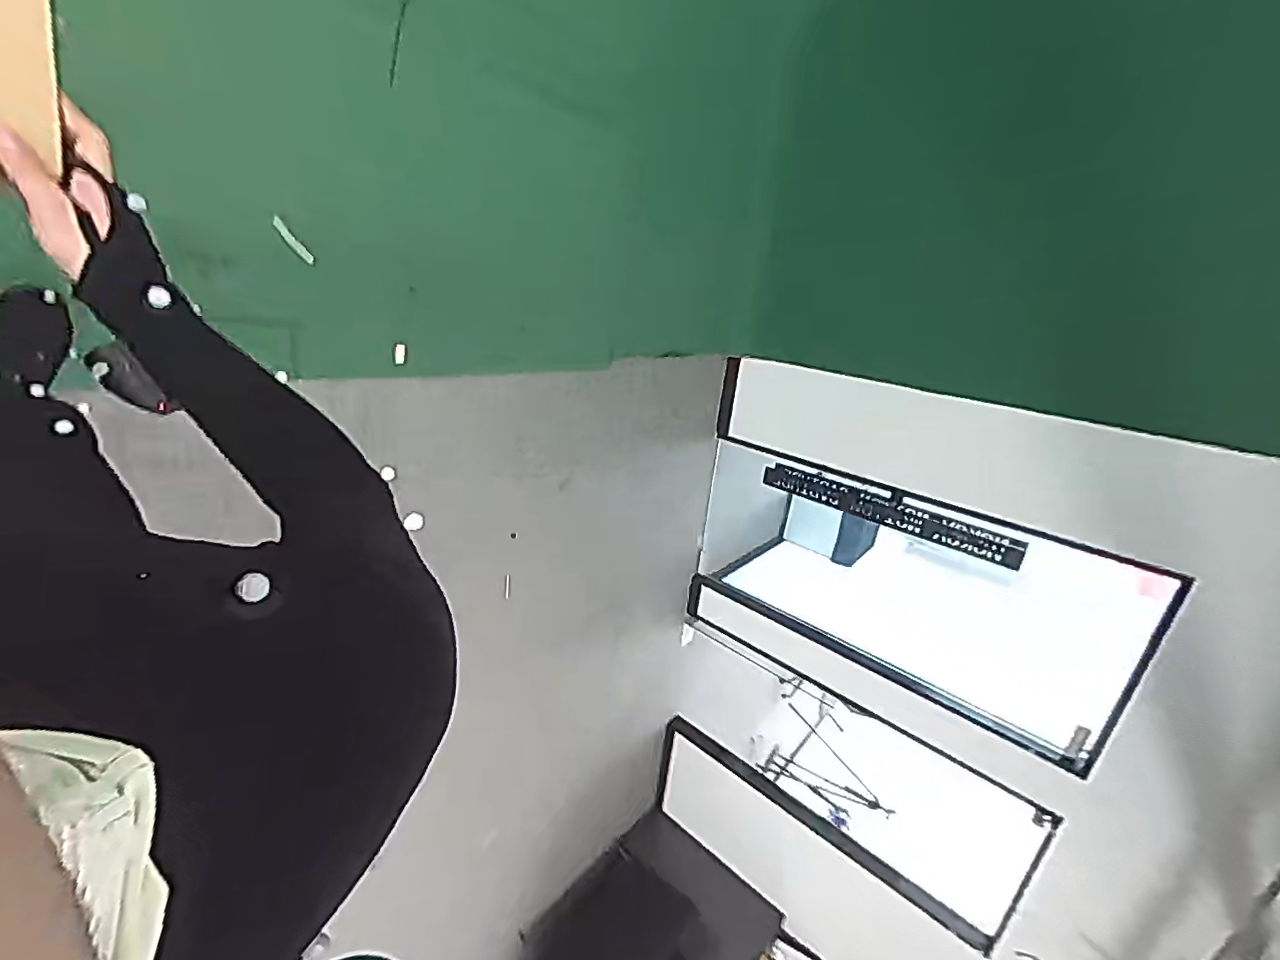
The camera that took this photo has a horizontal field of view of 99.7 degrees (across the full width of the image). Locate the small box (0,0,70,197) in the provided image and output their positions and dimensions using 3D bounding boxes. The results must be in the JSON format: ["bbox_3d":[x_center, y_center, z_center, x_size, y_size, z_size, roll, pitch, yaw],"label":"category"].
[{"bbox_3d":[-0.557,-0.325,0.389,0.168,0.176,0.179,-11,112,-57],"label":"small box"}]
